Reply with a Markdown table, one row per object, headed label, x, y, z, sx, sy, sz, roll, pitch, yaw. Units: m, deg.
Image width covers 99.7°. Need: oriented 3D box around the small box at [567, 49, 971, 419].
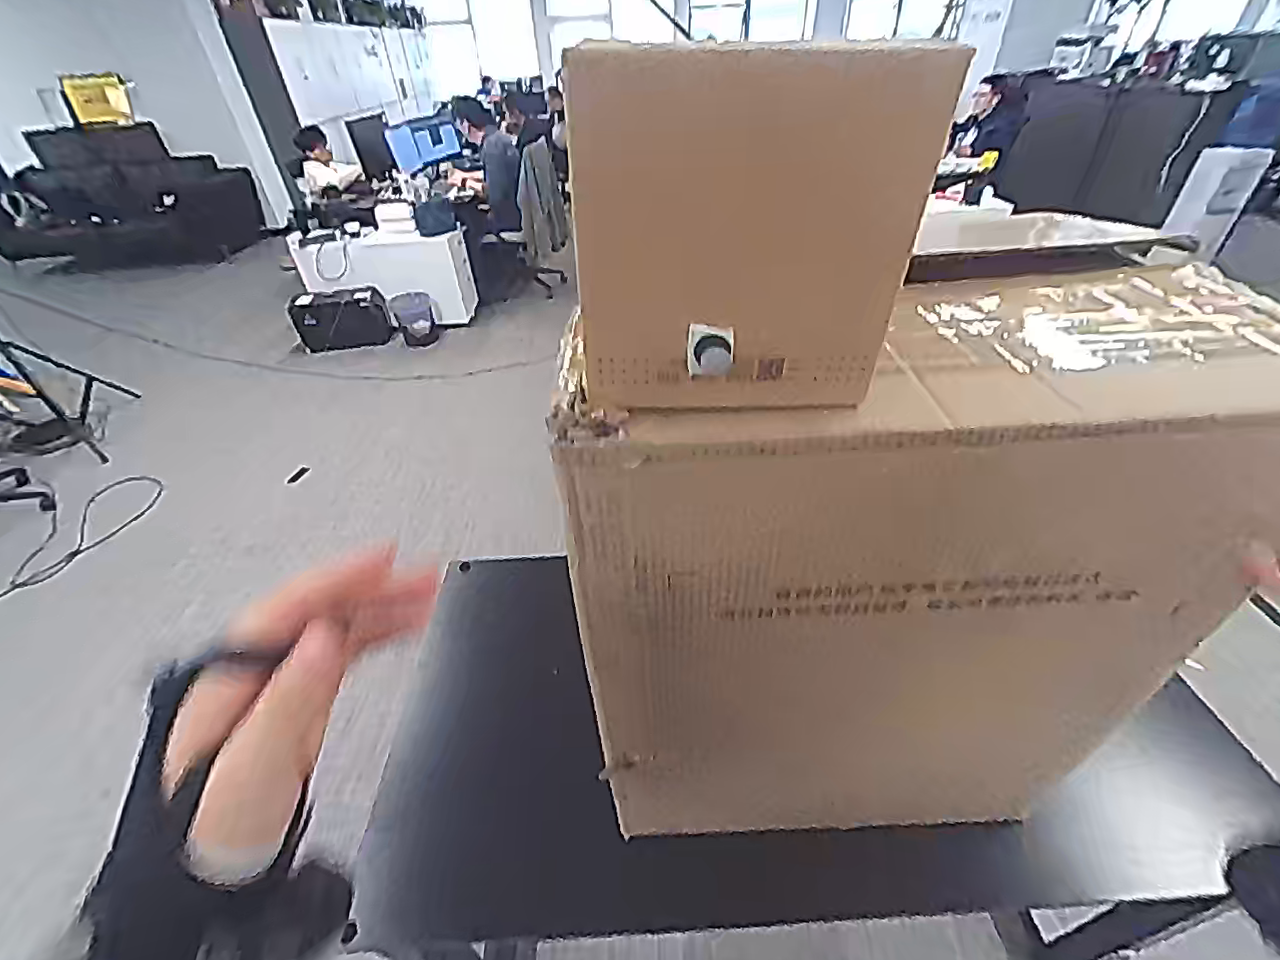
| label | x | y | z | sx | sy | sz | roll | pitch | yaw |
| --- | --- | --- | --- | --- | --- | --- | --- | --- | --- |
| small box | 0.049 | -0.153 | 0.329 | 0.168 | 0.176 | 0.179 | -2 | 40 | -1 |
